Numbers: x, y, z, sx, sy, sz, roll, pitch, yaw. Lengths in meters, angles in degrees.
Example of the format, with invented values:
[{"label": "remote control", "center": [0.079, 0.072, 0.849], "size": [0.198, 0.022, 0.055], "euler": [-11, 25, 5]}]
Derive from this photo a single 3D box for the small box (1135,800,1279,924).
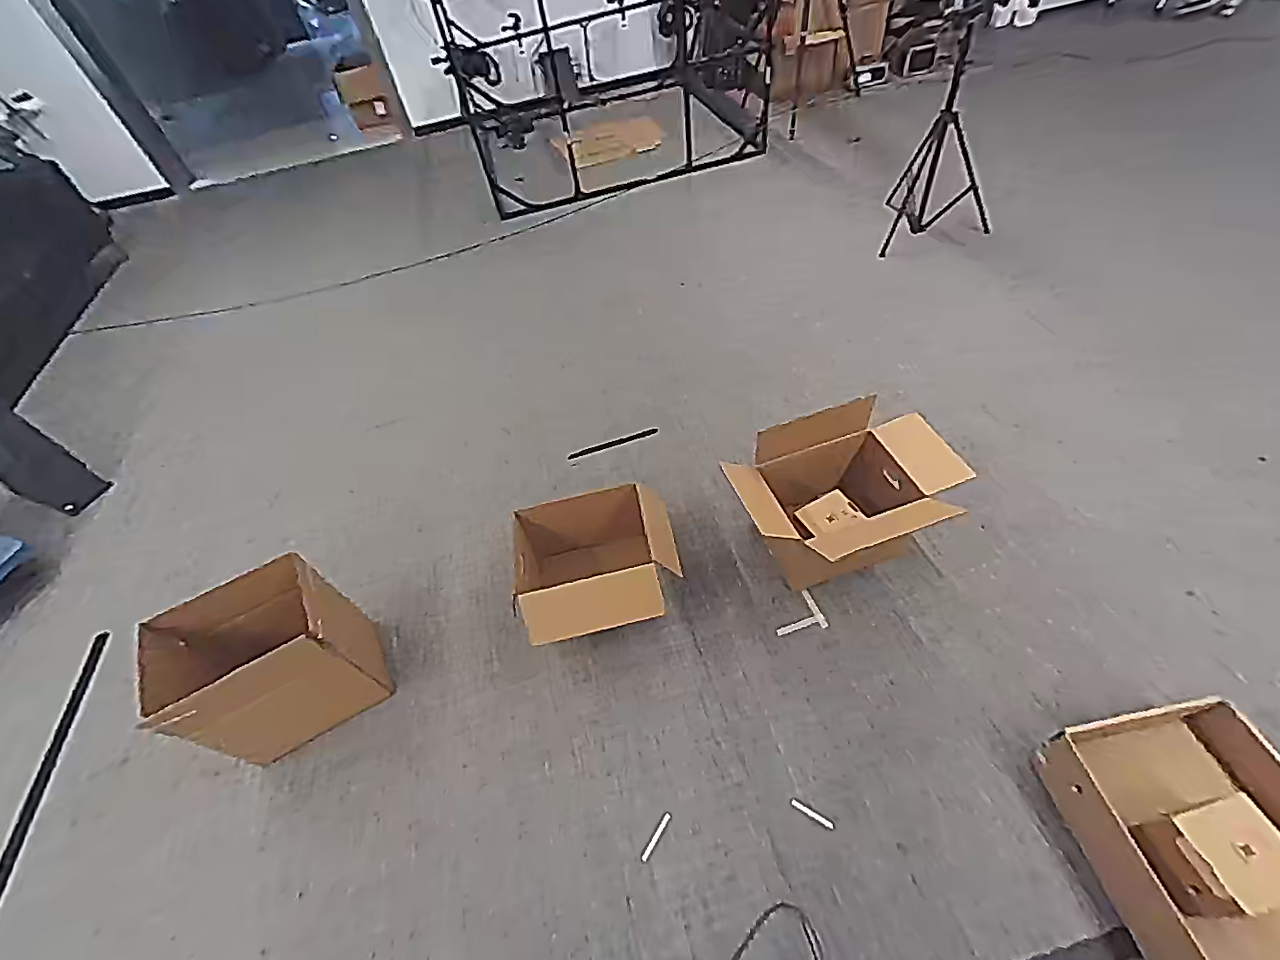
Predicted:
[{"label": "small box", "center": [1.180, 0.785, 1.108], "size": [0.179, 0.176, 0.168], "euler": [-16, 51, -4]}]
